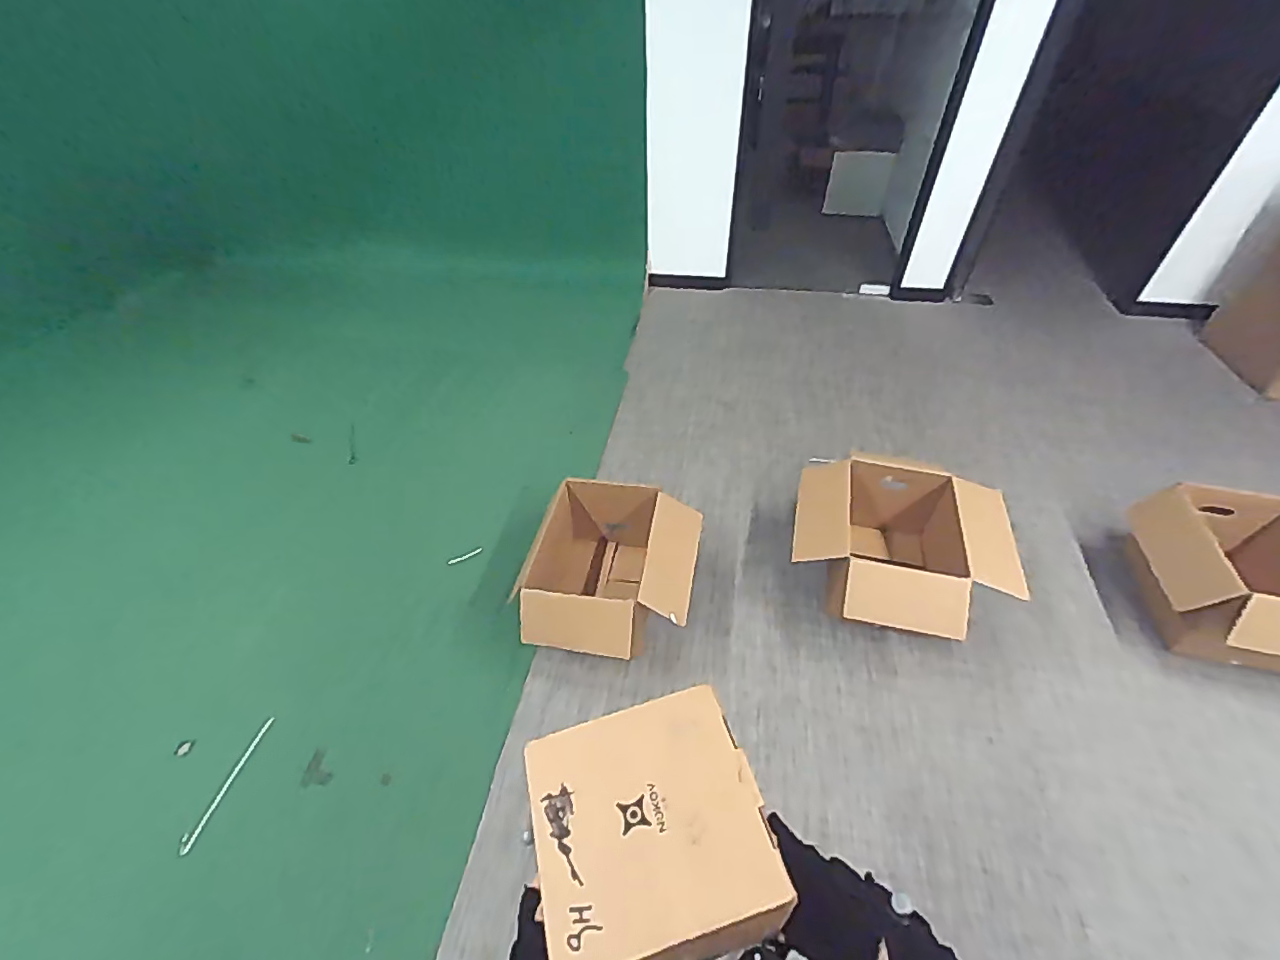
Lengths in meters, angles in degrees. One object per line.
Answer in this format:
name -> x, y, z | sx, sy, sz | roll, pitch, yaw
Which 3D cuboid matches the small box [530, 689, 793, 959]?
small box -> 0.012, 0.320, 0.481 | 0.179, 0.176, 0.168 | -14, 43, -8
